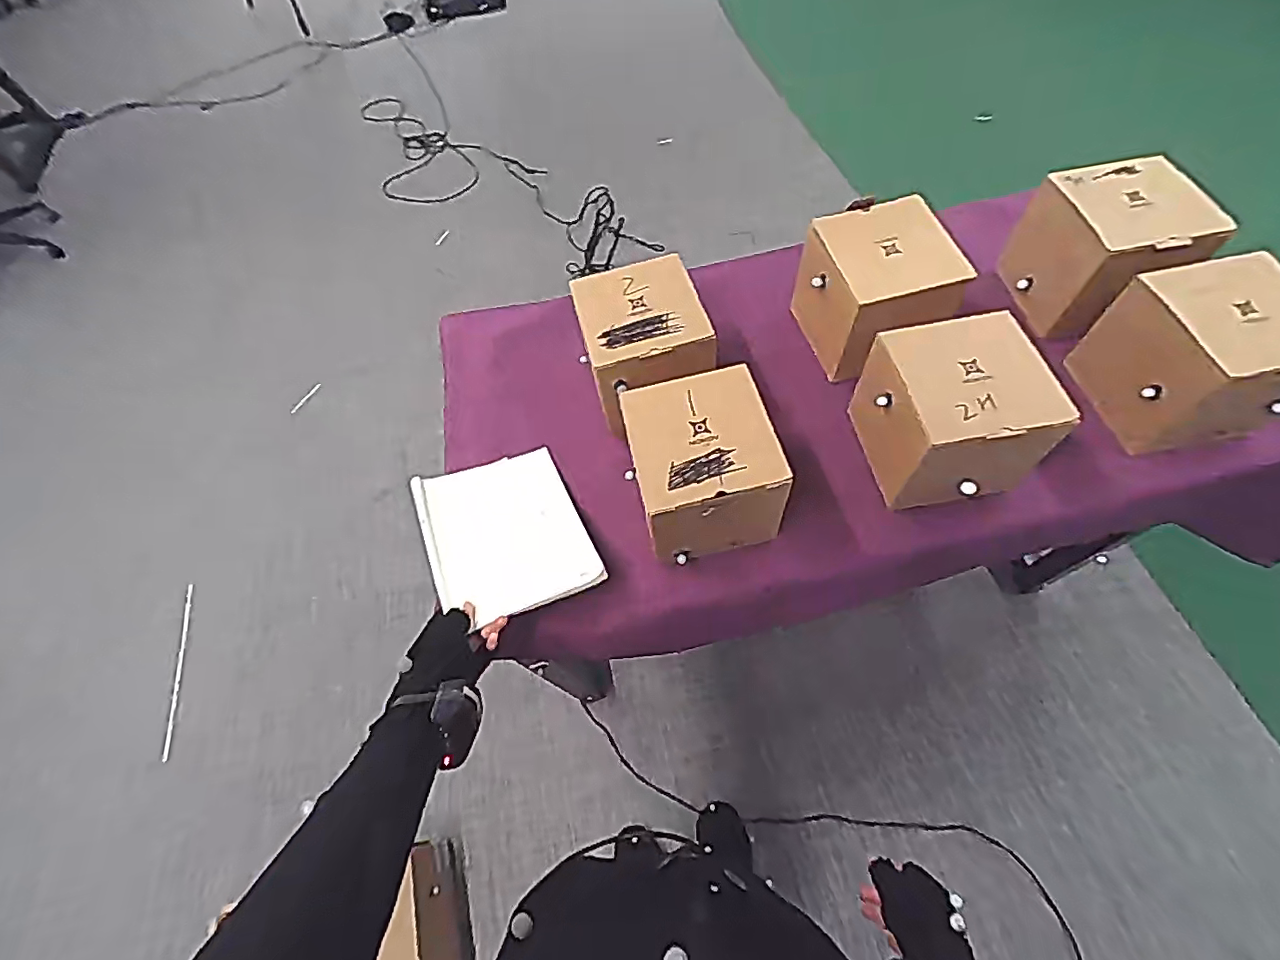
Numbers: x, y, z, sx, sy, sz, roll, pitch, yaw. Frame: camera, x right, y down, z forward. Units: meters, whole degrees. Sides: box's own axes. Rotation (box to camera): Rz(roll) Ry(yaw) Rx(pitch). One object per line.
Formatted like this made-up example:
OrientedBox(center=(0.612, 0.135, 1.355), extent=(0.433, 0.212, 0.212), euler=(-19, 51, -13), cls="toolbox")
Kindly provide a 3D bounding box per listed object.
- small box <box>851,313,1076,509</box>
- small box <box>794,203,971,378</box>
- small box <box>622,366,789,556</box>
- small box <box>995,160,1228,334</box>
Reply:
OrientedBox(center=(0.396, -0.084, 0.704), extent=(0.168, 0.176, 0.179), euler=(-10, 60, 1), cls="small box")
OrientedBox(center=(0.350, -0.276, 0.820), extent=(0.168, 0.176, 0.179), euler=(-15, 60, -2), cls="small box")
OrientedBox(center=(0.080, -0.014, 0.700), extent=(0.168, 0.176, 0.179), euler=(-12, 60, 0), cls="small box")
OrientedBox(center=(0.684, -0.338, 0.814), extent=(0.168, 0.176, 0.179), euler=(-8, 61, 1), cls="small box")
